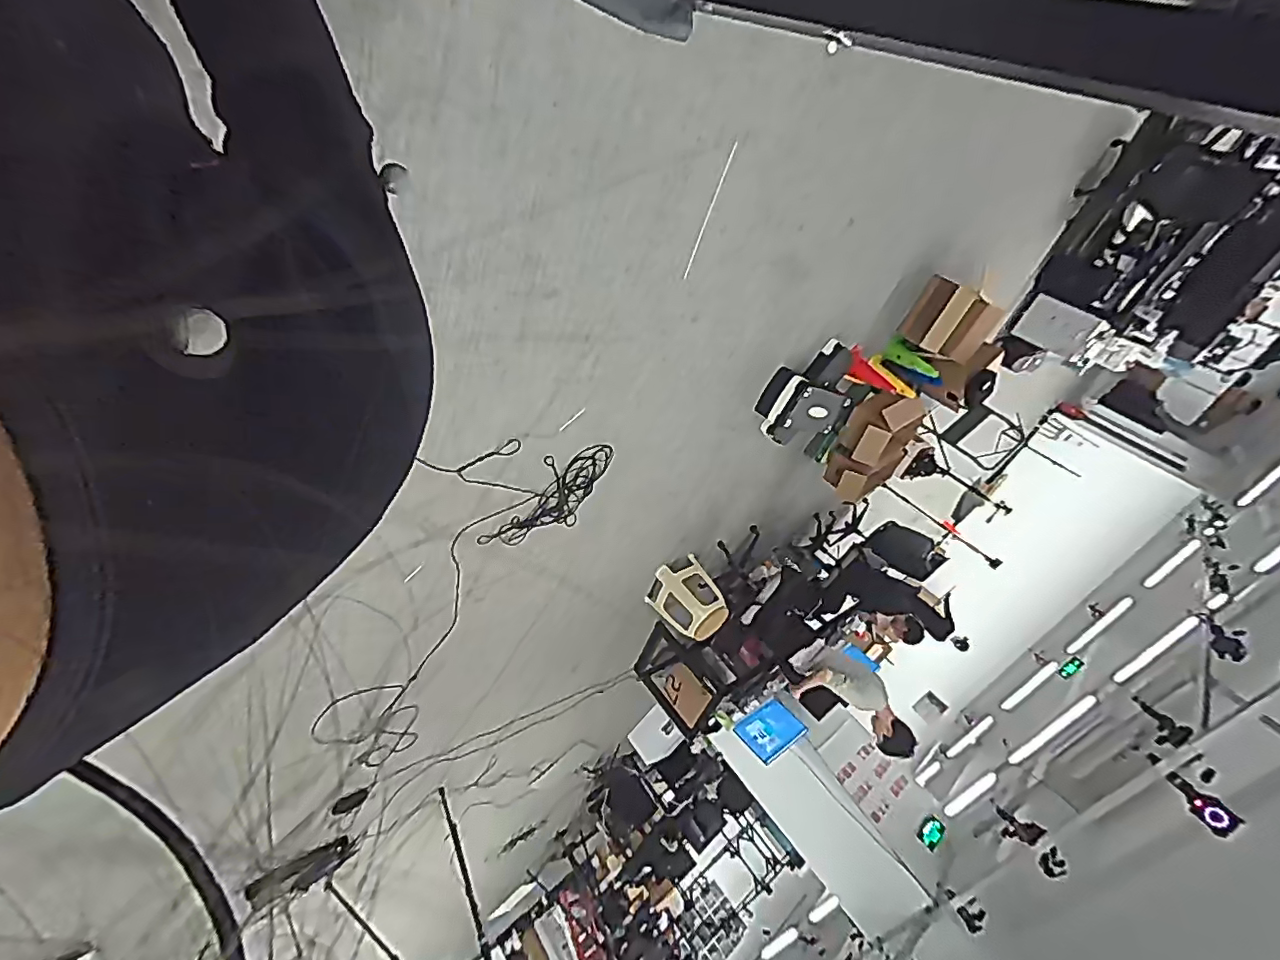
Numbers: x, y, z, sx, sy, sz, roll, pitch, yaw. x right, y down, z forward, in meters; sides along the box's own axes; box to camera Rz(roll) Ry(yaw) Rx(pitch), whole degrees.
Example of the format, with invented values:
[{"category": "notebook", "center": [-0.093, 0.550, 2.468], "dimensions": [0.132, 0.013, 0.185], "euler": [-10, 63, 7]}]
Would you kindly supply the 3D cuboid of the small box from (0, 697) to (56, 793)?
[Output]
[{"category": "small box", "center": [-1.701, 0.707, 1.433], "dimensions": [0.168, 0.176, 0.179], "euler": [-16, 138, -37]}]
